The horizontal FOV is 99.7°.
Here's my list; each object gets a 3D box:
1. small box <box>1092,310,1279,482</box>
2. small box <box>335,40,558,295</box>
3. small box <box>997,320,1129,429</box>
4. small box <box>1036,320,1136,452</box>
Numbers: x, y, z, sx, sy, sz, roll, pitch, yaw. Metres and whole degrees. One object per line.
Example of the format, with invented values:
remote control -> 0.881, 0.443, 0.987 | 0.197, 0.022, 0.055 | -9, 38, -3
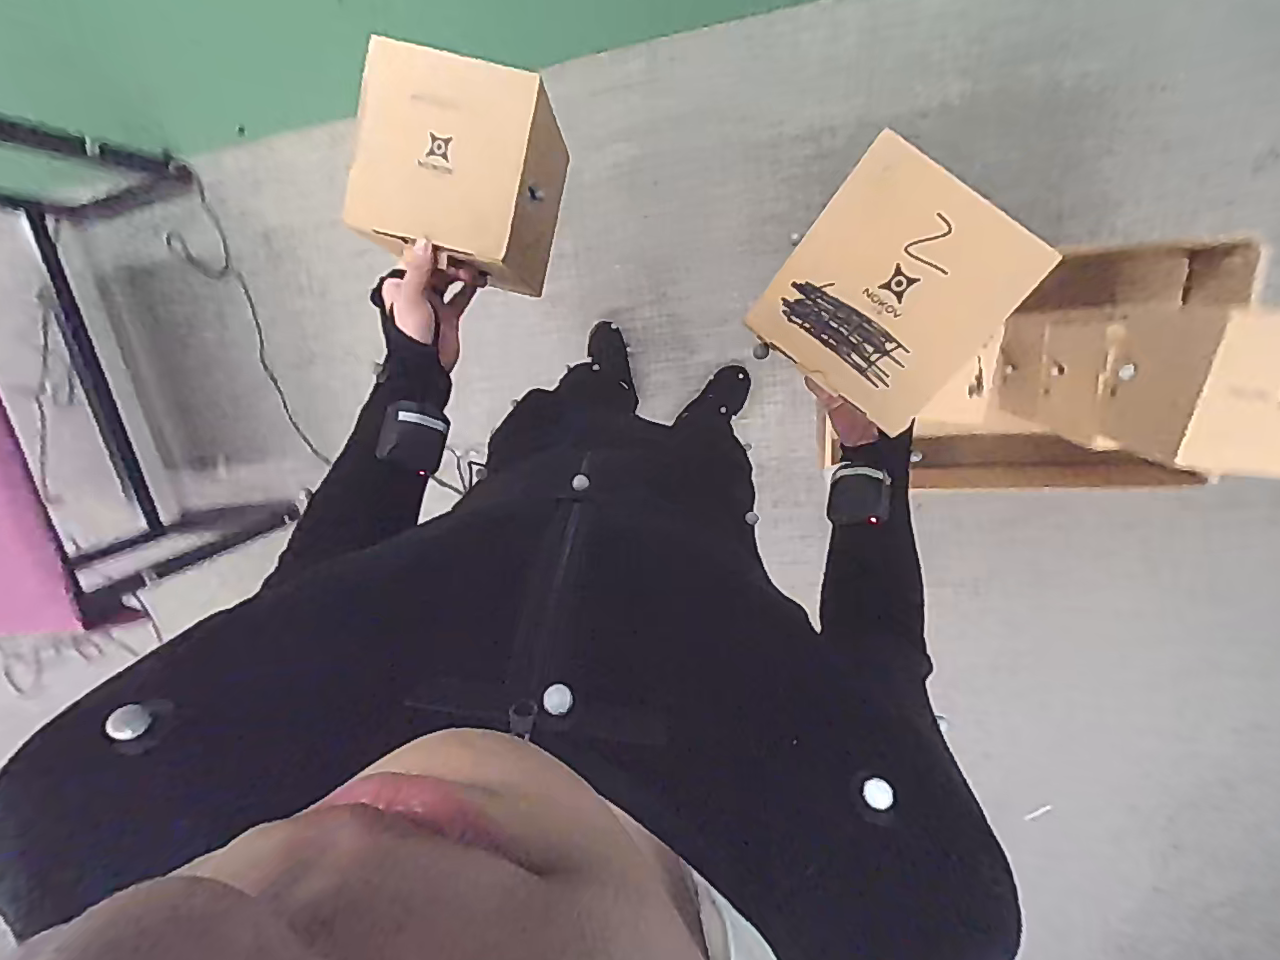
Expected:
small box -> 0.675, -0.100, 0.612 | 0.179, 0.176, 0.168 | 9, 107, 12
small box -> -0.196, -0.318, 0.592 | 0.168, 0.176, 0.179 | 13, 97, 1
small box -> 0.746, -0.183, 0.920 | 0.179, 0.176, 0.168 | -1, 105, 14
small box -> 0.708, -0.140, 0.768 | 0.179, 0.176, 0.168 | -1, 106, 14
